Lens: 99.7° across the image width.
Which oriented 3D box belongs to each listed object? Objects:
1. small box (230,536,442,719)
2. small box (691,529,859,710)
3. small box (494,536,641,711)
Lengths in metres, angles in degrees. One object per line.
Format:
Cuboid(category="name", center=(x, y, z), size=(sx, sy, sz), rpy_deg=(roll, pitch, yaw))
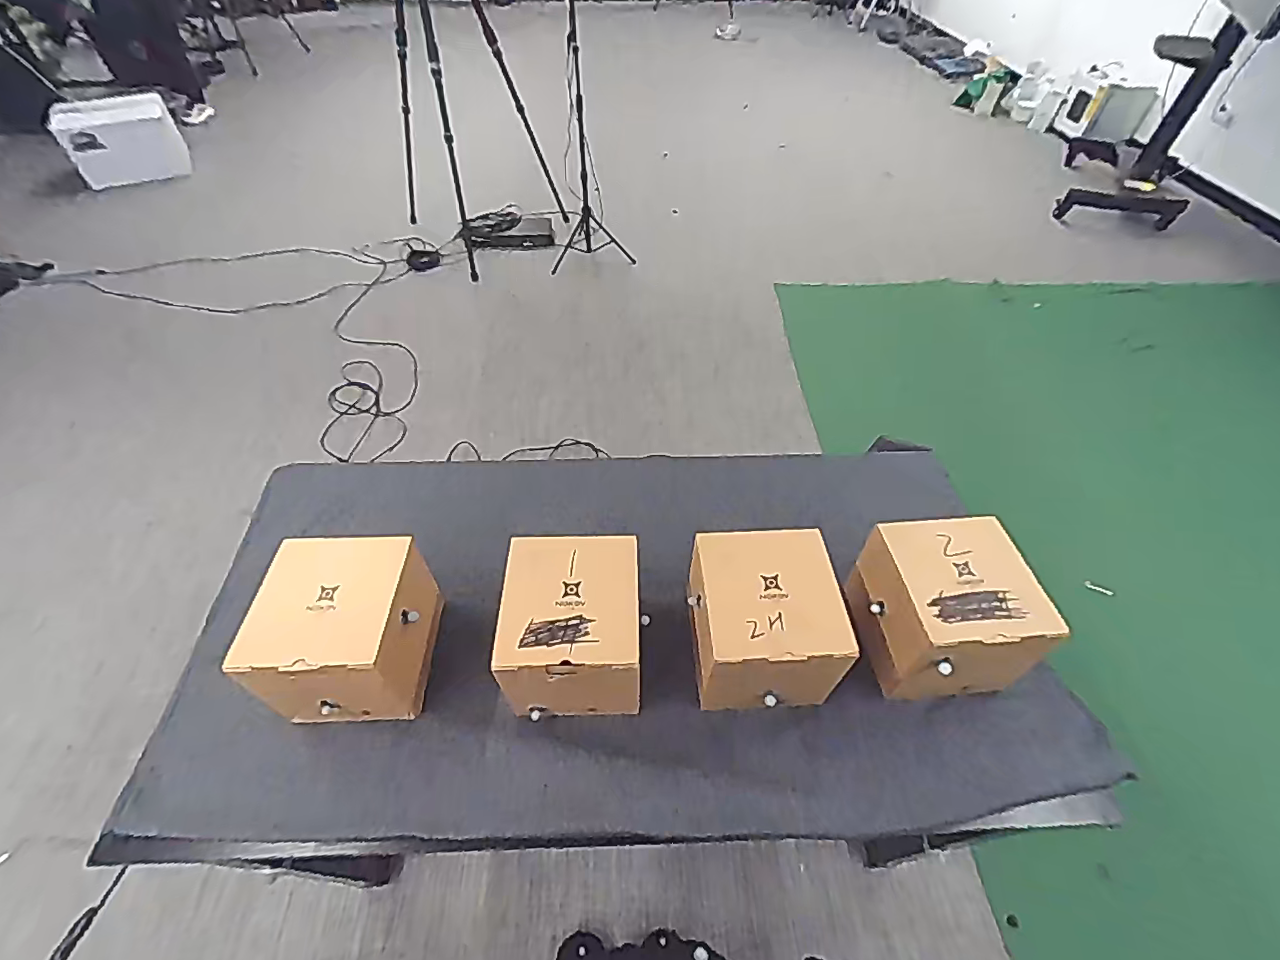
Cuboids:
Cuboid(category="small box", center=(-0.370, 0.191, 0.702), size=(0.168, 0.176, 0.179), rpy_deg=(-1, 49, -3))
Cuboid(category="small box", center=(0.161, 0.185, 0.716), size=(0.168, 0.176, 0.179), rpy_deg=(-3, 50, -1))
Cuboid(category="small box", center=(-0.081, 0.191, 0.707), size=(0.168, 0.176, 0.179), rpy_deg=(0, 49, -1))
